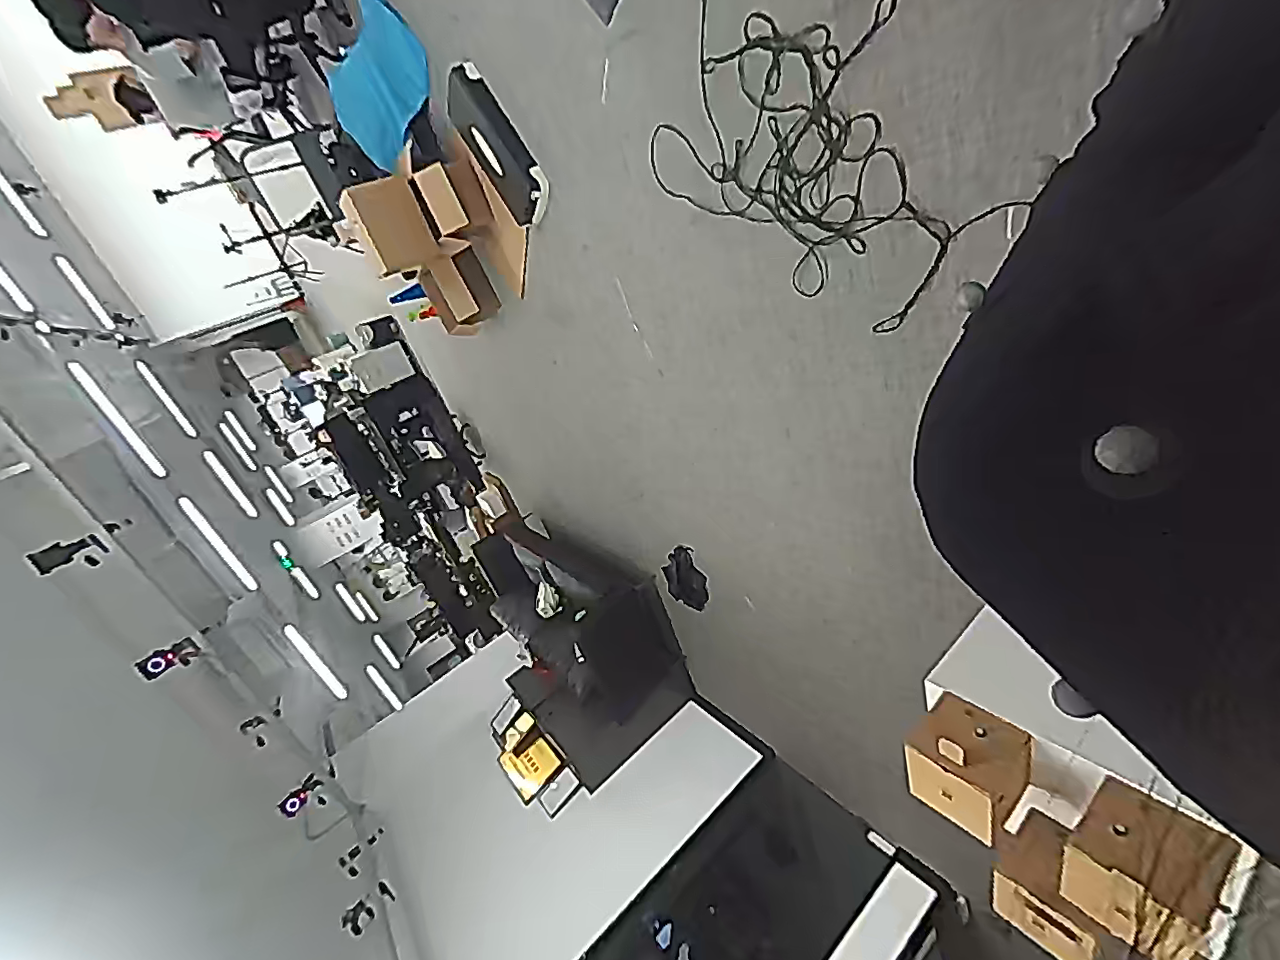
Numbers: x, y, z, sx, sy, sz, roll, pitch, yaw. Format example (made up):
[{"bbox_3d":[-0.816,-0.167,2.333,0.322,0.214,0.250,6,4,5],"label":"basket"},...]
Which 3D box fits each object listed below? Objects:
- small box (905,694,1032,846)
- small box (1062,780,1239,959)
[{"bbox_3d":[0.671,0.582,1.103,0.168,0.176,0.179,21,137,52],"label":"small box"},{"bbox_3d":[0.831,0.643,0.886,0.168,0.176,0.179,23,140,53],"label":"small box"}]
